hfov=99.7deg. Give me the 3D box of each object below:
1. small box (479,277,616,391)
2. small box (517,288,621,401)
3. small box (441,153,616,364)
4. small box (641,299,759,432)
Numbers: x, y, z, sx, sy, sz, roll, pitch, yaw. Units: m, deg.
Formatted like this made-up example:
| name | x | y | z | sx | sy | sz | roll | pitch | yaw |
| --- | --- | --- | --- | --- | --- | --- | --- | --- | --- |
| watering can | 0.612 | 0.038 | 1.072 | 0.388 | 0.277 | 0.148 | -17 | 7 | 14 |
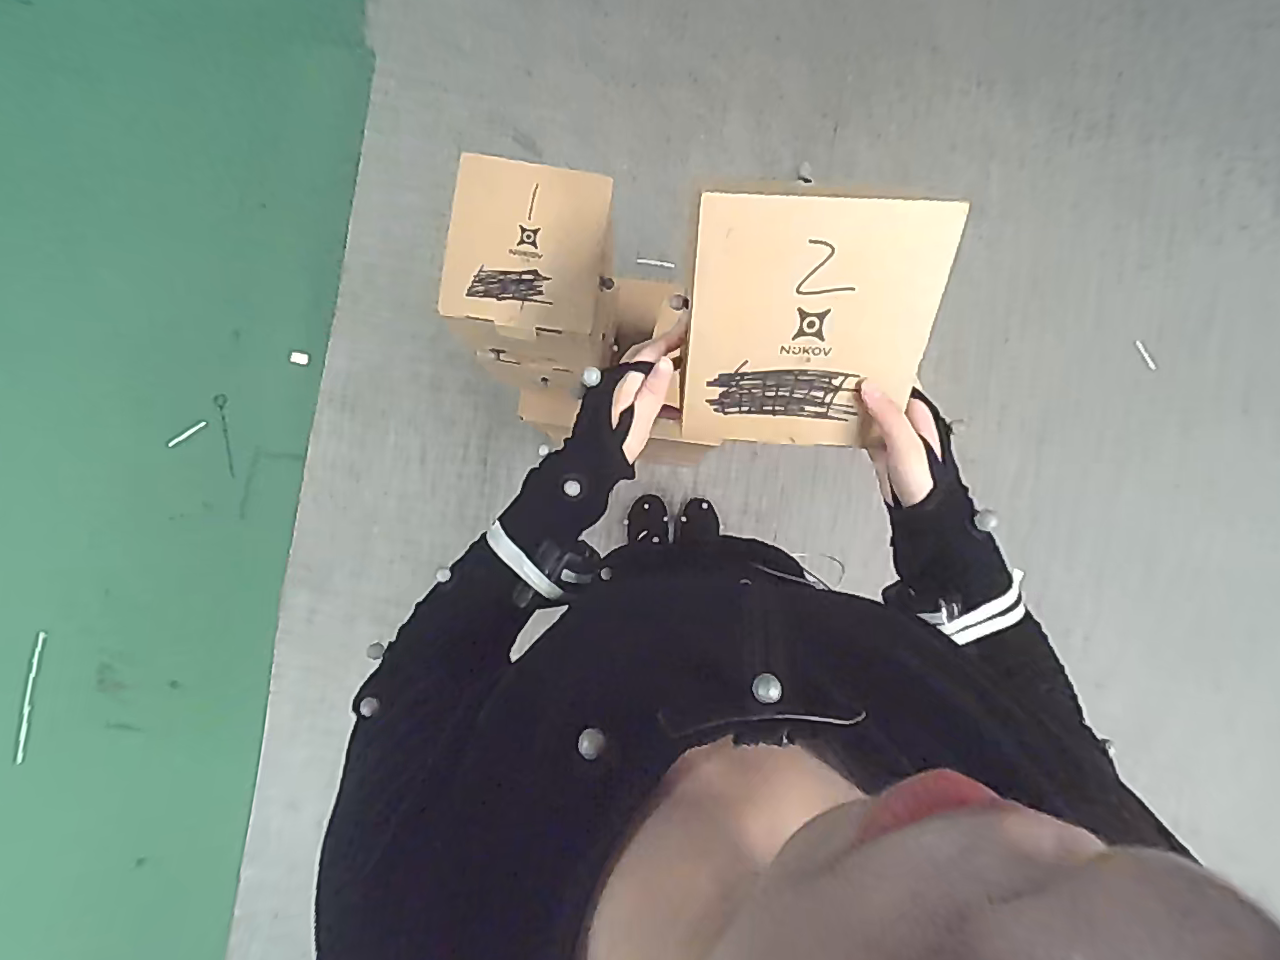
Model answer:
| name | x | y | z | sx | sy | sz | roll | pitch | yaw |
| --- | --- | --- | --- | --- | --- | --- | --- | --- | --- |
| small box | -0.129 | -0.239 | 0.815 | 0.168 | 0.176 | 0.179 | 8 | 90 | -2 |
| small box | -0.128 | -0.248 | 0.979 | 0.168 | 0.176 | 0.179 | 10 | 89 | -2 |
| small box | -0.120 | -0.248 | 0.651 | 0.168 | 0.176 | 0.179 | 8 | 88 | -2 |
| small box | 0.100 | -0.196 | 0.976 | 0.168 | 0.176 | 0.179 | 15 | 89 | 2 |
